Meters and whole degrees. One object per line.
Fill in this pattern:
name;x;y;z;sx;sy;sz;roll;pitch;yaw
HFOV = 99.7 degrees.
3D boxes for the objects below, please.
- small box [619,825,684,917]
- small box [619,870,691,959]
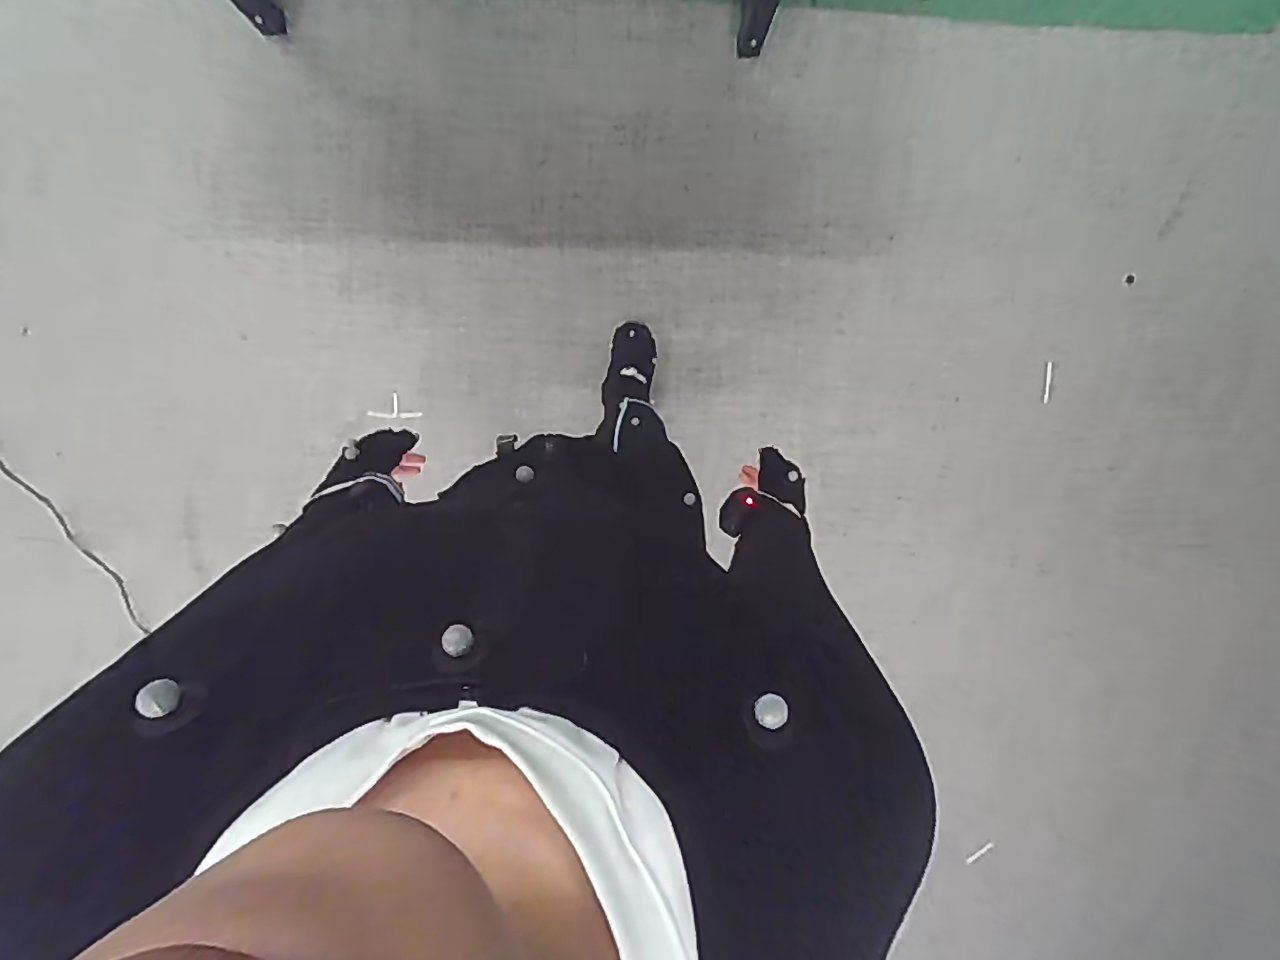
small box;0.027;1.134;1.547;0.168;0.176;0.179;4;98;-4
small box;0.032;1.137;1.382;0.168;0.176;0.179;1;98;-3
